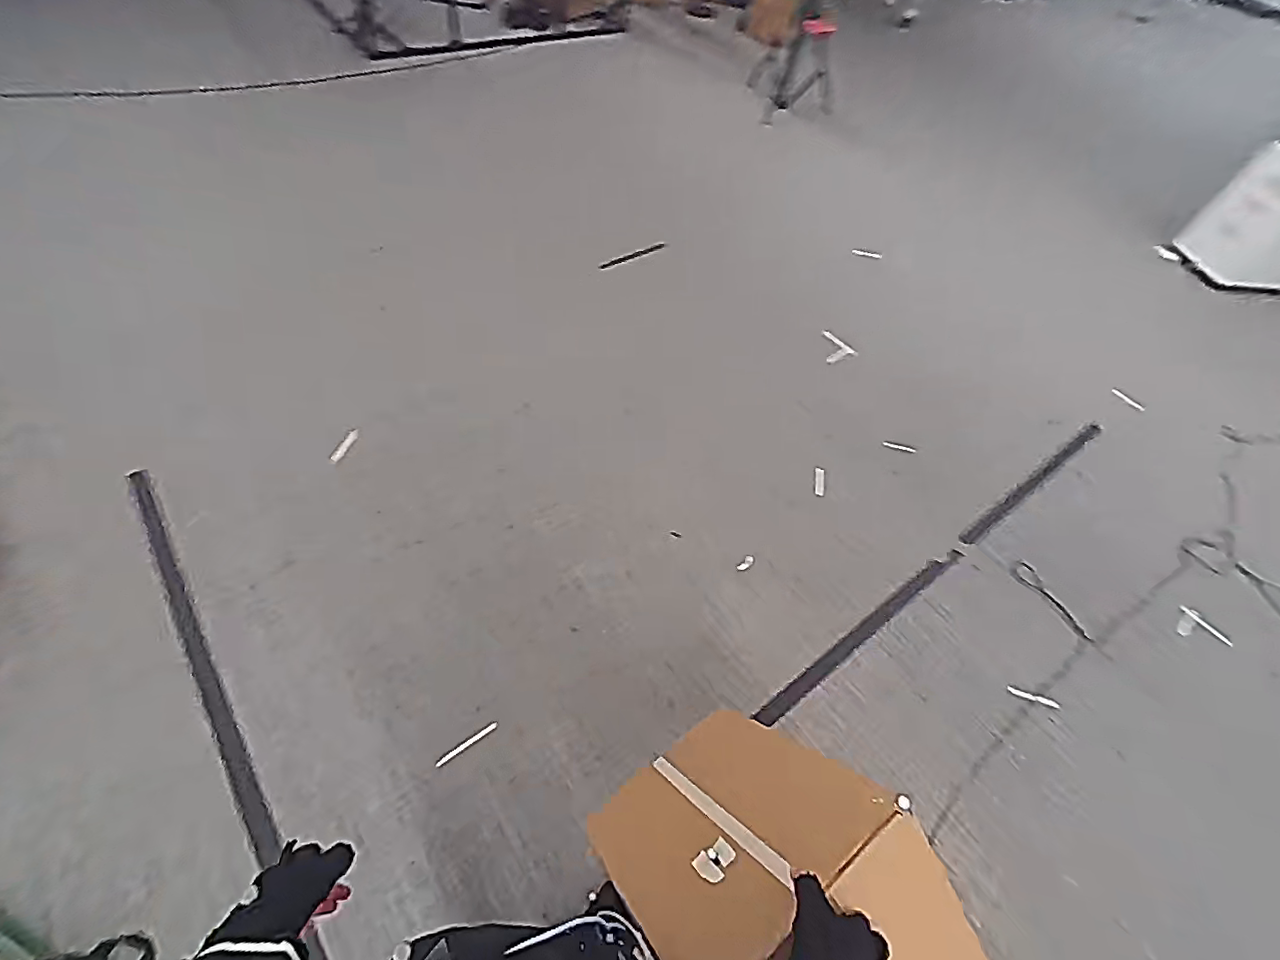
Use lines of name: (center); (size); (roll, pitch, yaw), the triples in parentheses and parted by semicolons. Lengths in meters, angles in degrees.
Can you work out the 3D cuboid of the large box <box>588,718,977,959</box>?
large box: (0.179, 0.606, 0.753); (0.320, 0.408, 0.320); (-28, 95, -23)
